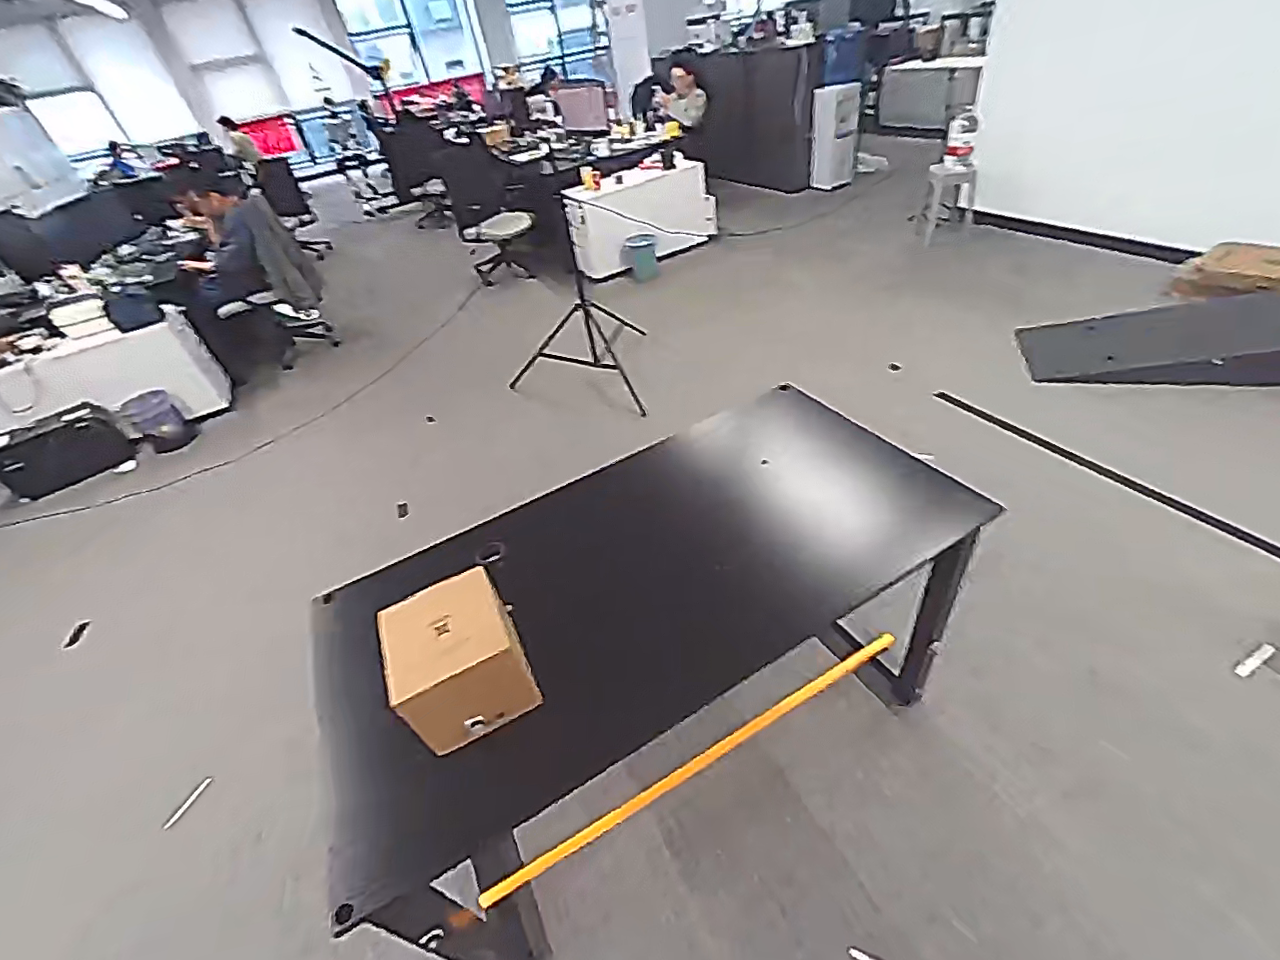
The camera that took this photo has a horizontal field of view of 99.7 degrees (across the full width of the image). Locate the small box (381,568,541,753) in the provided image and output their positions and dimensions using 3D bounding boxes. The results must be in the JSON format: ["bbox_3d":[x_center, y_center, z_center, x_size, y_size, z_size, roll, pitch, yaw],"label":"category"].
[{"bbox_3d":[-0.273,0.276,0.833,0.168,0.176,0.179,-26,43,-15],"label":"small box"}]
